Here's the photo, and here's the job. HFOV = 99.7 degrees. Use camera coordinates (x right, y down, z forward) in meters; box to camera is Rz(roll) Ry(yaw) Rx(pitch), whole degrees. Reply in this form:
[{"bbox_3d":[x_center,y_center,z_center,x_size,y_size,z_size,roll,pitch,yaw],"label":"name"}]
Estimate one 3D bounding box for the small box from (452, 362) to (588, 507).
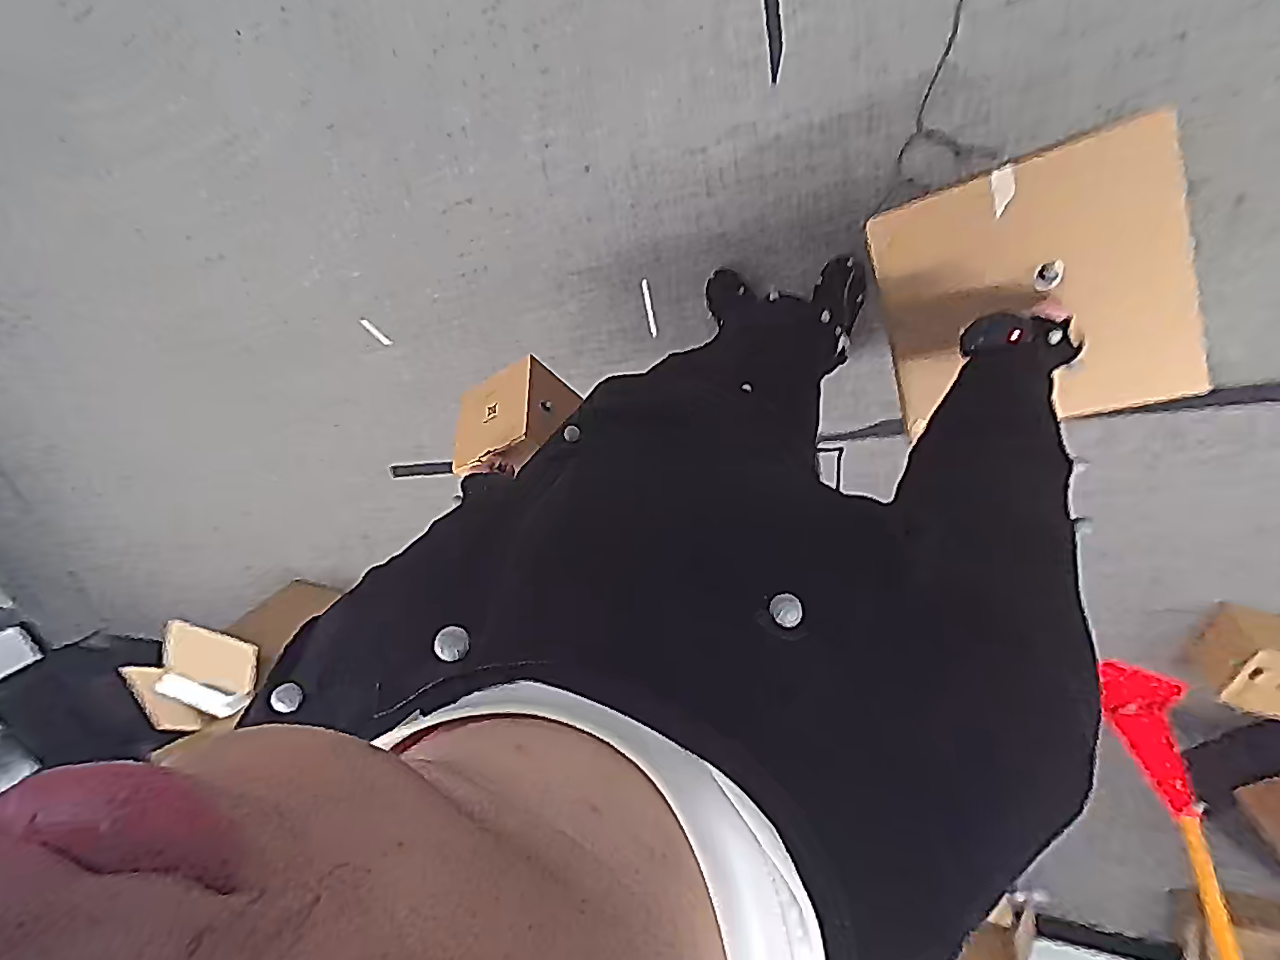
[{"bbox_3d":[-0.206,-0.069,0.966,0.168,0.179,0.176,-23,142,25],"label":"small box"}]
